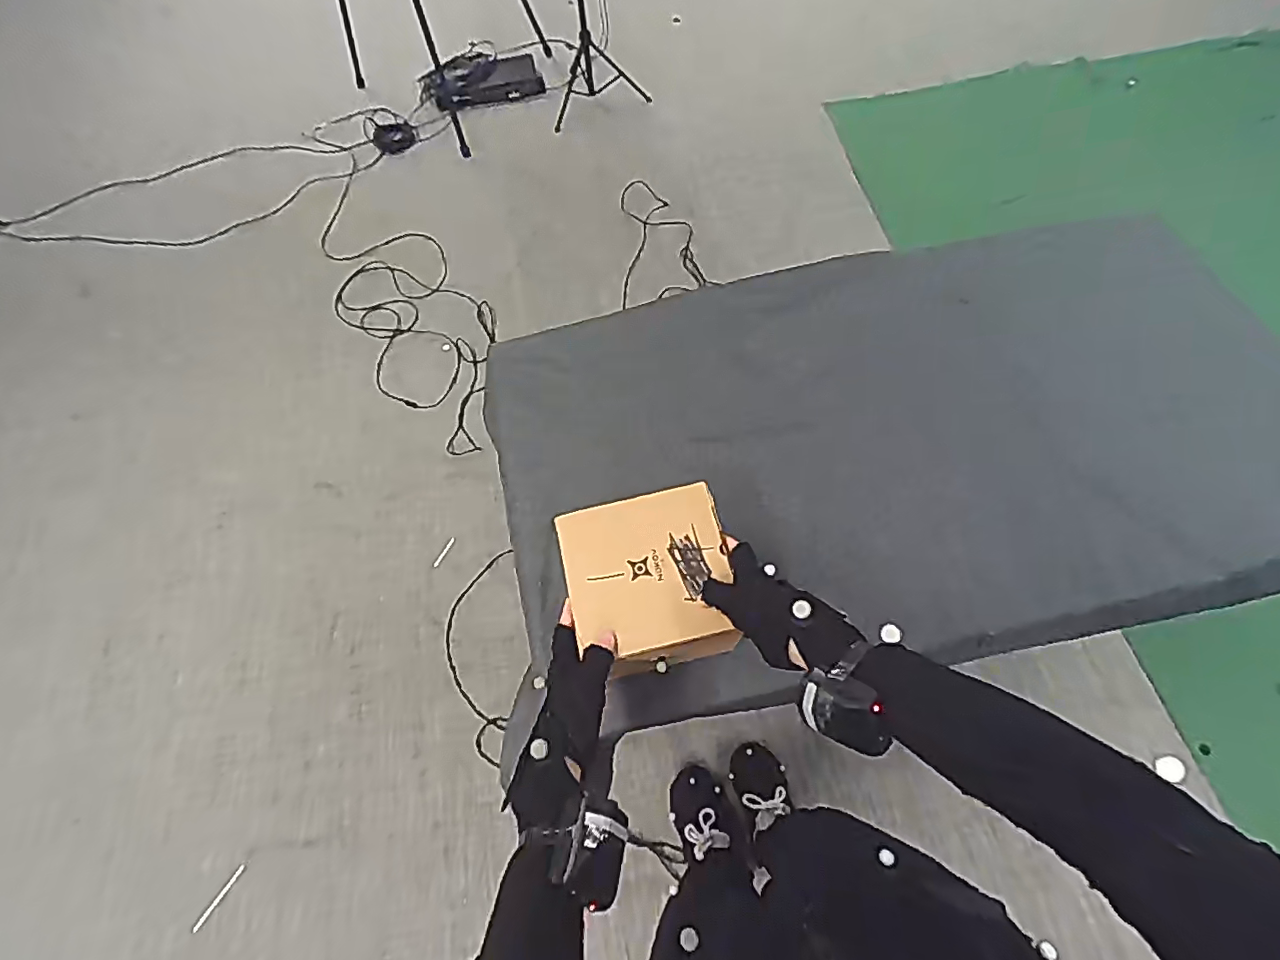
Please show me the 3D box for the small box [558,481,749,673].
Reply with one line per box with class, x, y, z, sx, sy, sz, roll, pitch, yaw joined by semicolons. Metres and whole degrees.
small box;0.012;0.122;0.642;0.179;0.176;0.168;-13;65;-3
